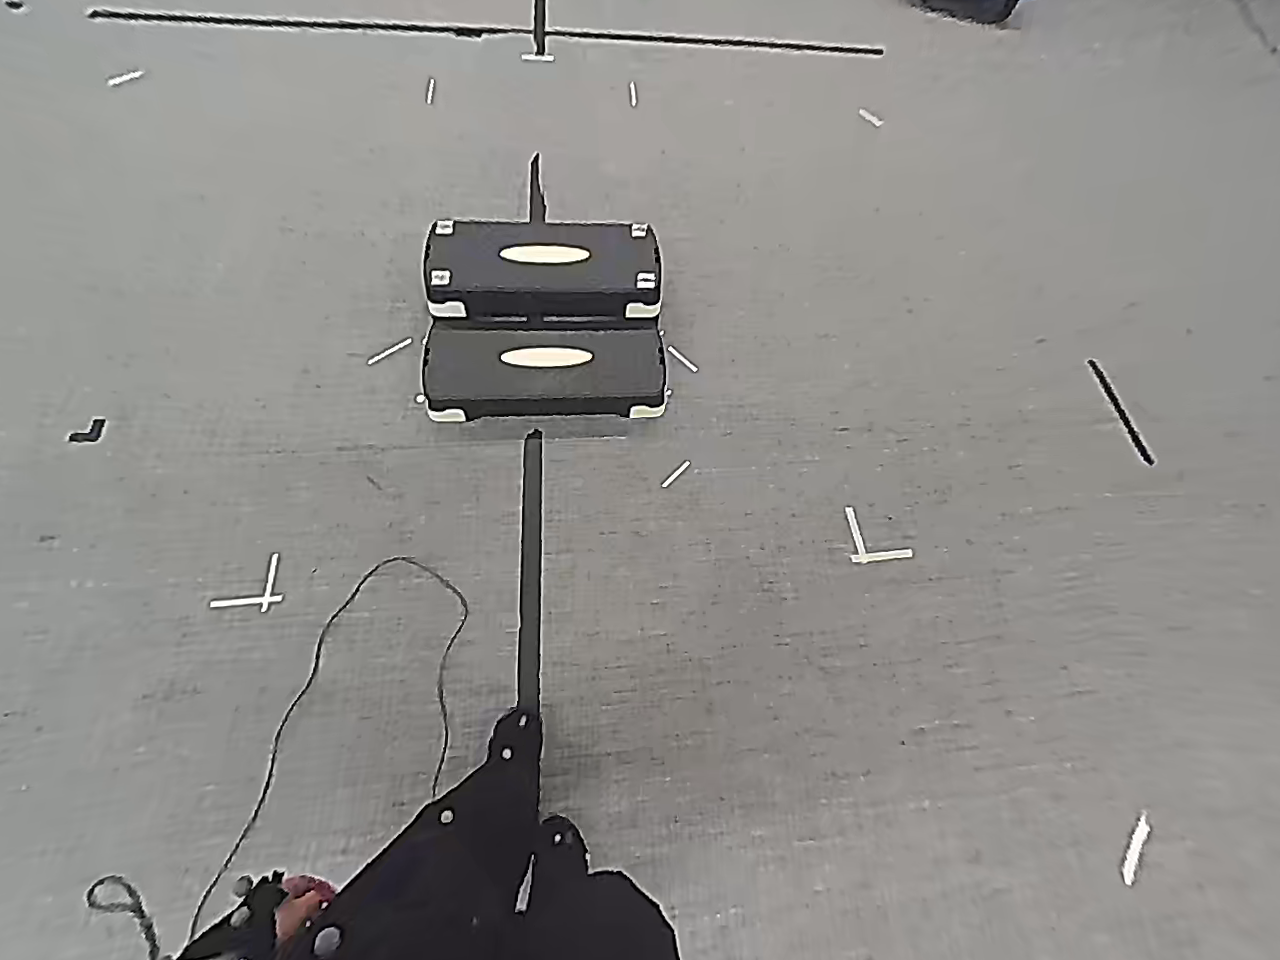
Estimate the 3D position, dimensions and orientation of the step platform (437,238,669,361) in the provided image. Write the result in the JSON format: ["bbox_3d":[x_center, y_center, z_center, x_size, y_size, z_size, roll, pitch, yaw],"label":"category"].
[{"bbox_3d":[-0.251,-0.548,1.642,0.684,0.204,0.286,2,63,-5],"label":"step platform"}]
